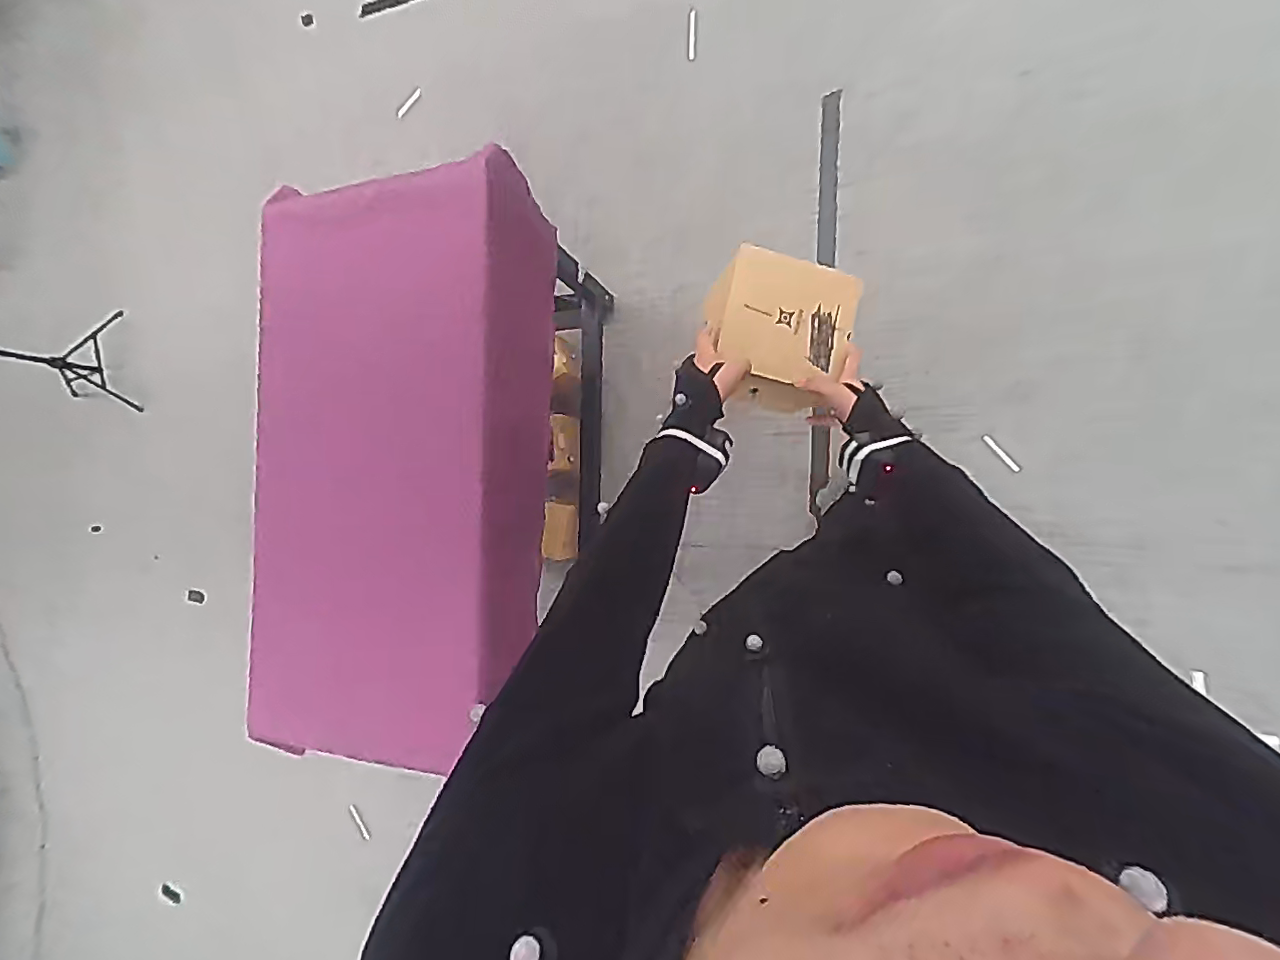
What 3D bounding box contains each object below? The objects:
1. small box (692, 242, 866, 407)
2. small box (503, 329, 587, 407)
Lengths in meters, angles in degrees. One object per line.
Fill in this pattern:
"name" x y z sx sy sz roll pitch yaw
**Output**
"small box" 0.190 -0.210 0.785 0.179 0.176 0.168 14 88 -5
"small box" -0.300 -0.349 1.737 0.179 0.176 0.168 -30 80 16
